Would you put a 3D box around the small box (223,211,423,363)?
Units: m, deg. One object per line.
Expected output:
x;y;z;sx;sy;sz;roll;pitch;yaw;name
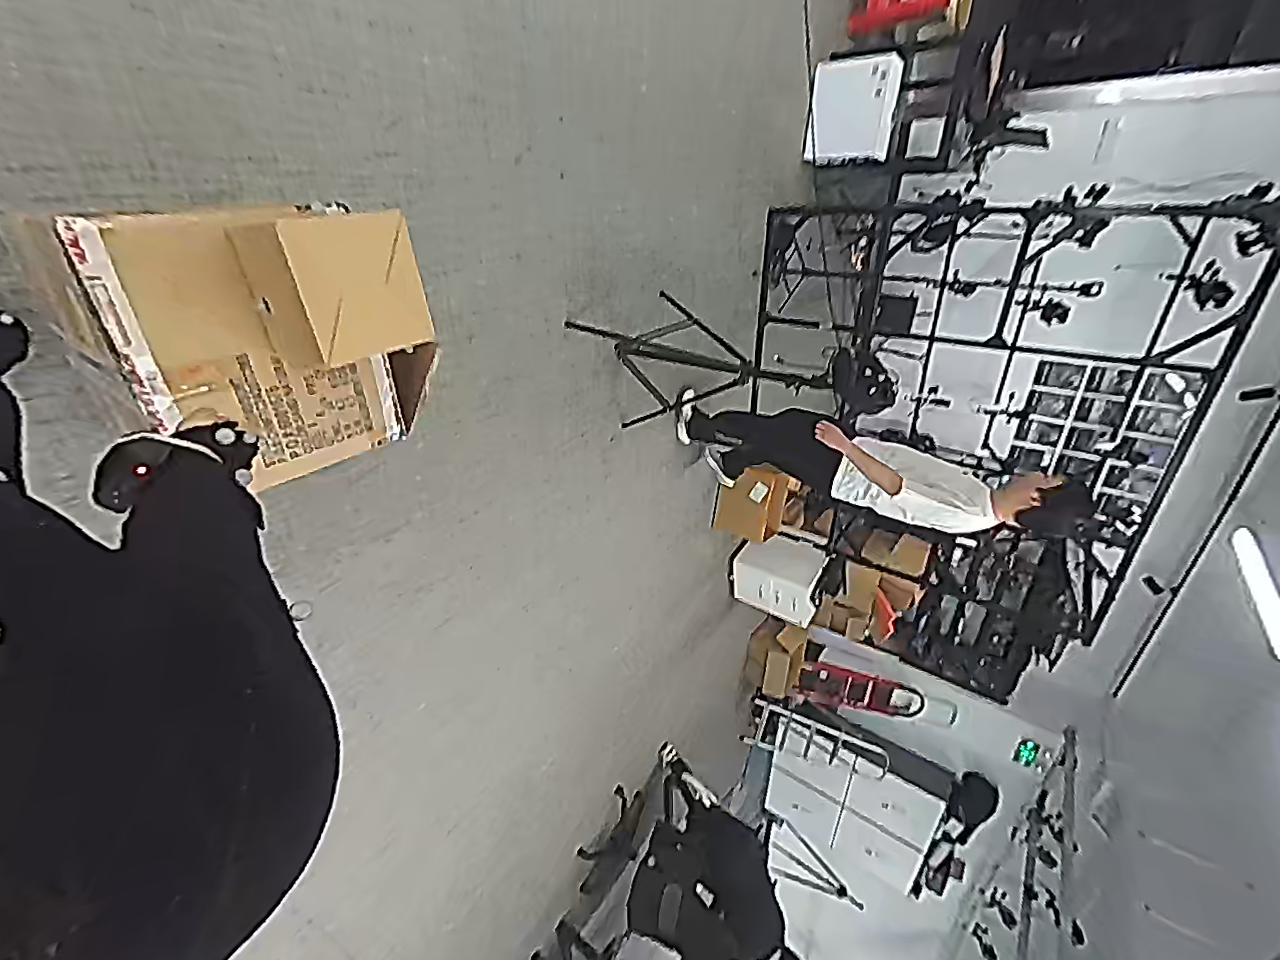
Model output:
-0.436;-0.273;0.763;0.168;0.176;0.179;-34;130;-43;small box
